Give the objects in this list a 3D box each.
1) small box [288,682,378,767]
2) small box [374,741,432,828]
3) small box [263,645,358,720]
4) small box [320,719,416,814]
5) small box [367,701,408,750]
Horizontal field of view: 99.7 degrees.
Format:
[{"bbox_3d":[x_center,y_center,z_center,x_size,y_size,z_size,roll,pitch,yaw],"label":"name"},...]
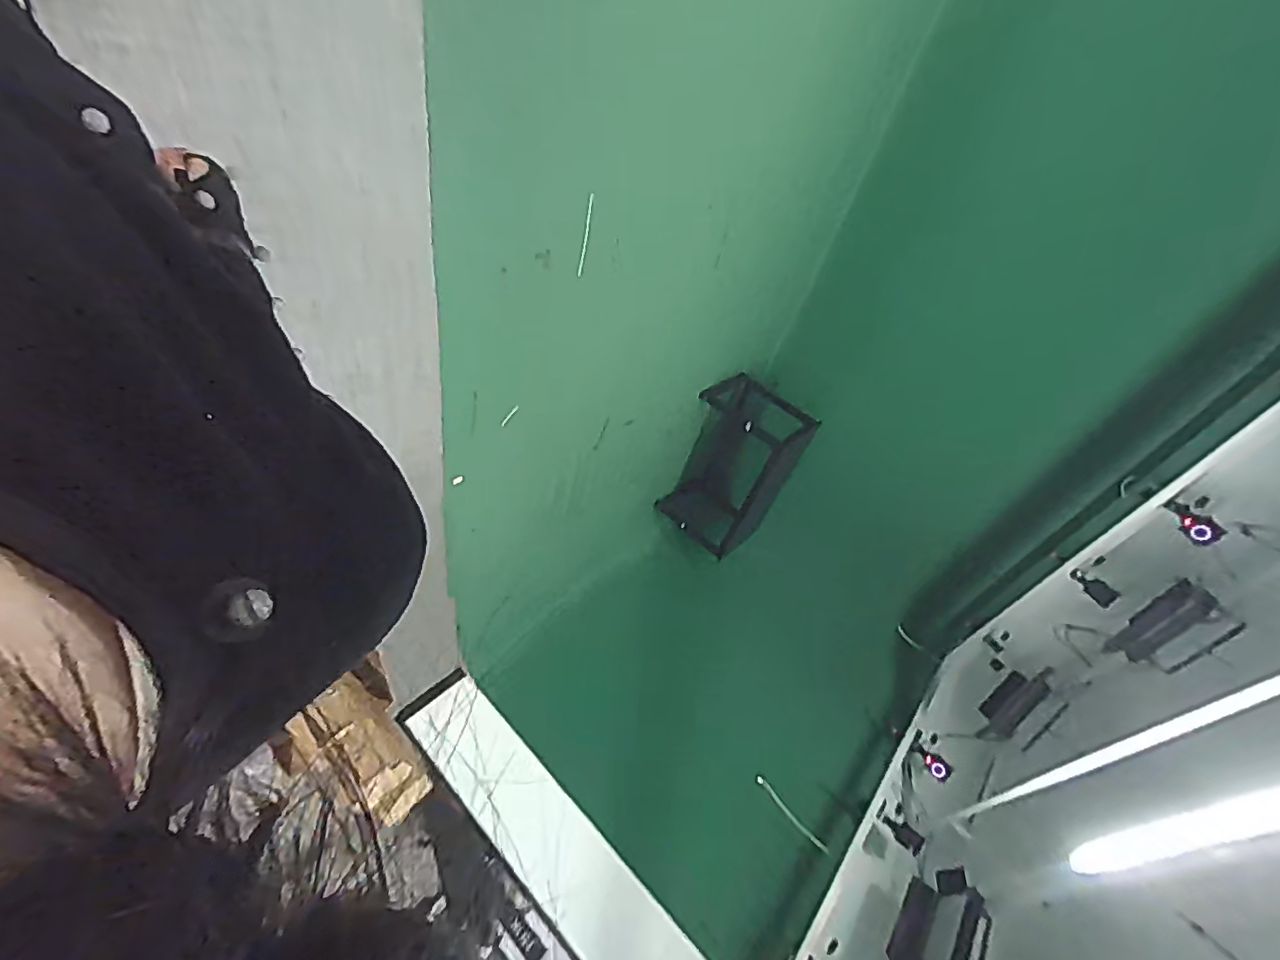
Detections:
[{"bbox_3d":[-0.920,0.742,1.637,0.168,0.176,0.179,-39,156,-25],"label":"small box"},{"bbox_3d":[-0.820,1.008,1.797,0.168,0.176,0.179,-36,153,-36],"label":"small box"},{"bbox_3d":[-1.037,0.648,1.701,0.168,0.176,0.179,-39,156,-26],"label":"small box"},{"bbox_3d":[-0.794,0.832,1.580,0.168,0.176,0.179,-38,154,-27],"label":"small box"},{"bbox_3d":[-0.935,0.903,1.855,0.179,0.176,0.168,-37,154,-34],"label":"small box"}]
